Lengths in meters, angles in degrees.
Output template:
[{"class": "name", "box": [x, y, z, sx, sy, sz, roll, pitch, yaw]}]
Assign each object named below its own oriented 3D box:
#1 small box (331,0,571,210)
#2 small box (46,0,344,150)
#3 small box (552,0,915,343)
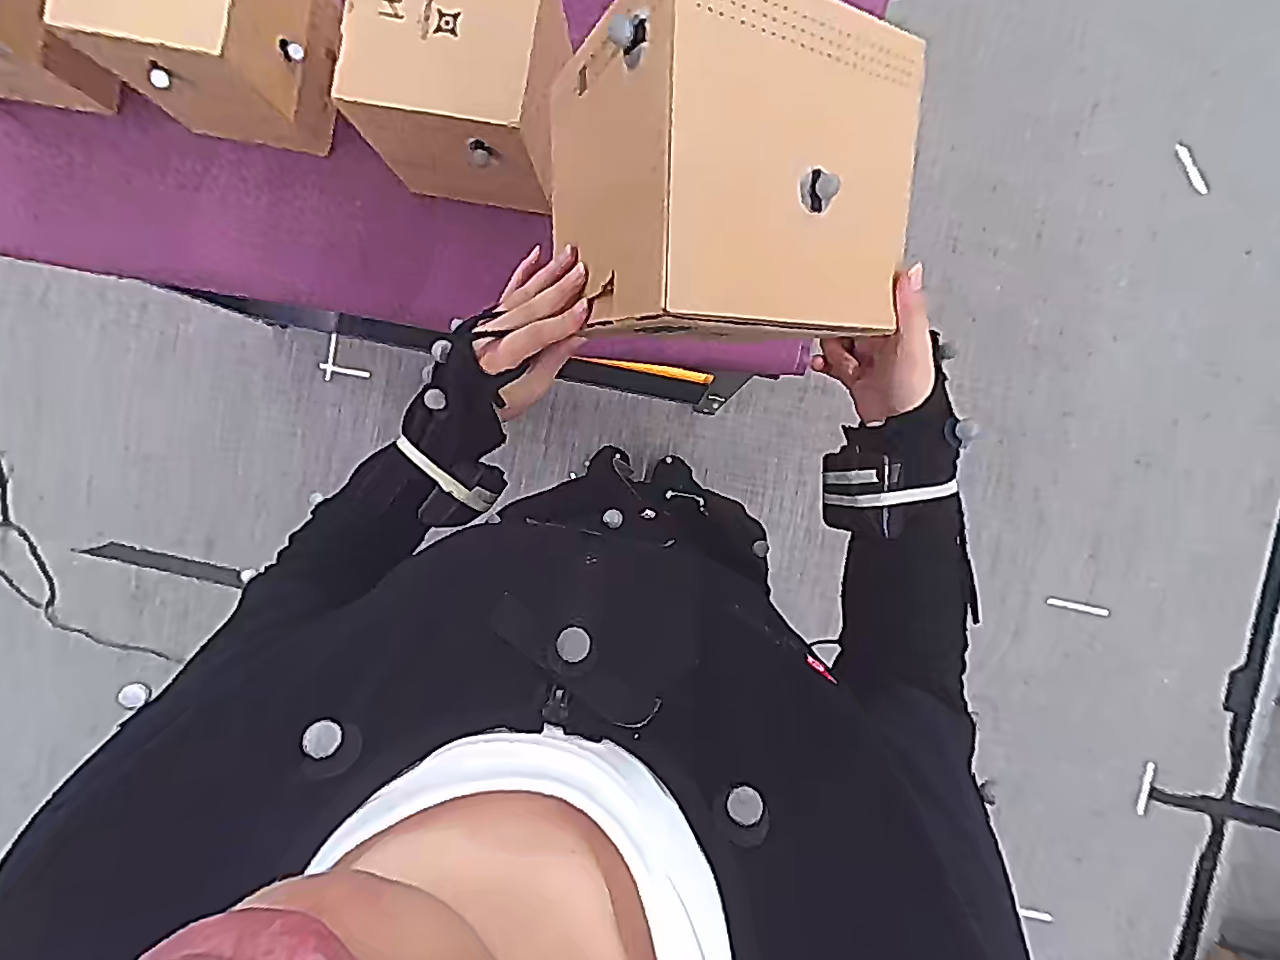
[{"class": "small box", "box": [-0.174, -0.405, 0.557, 0.179, 0.176, 0.168, 10, 91, 2]}, {"class": "small box", "box": [-0.441, -0.482, 0.569, 0.179, 0.176, 0.168, 12, 93, 2]}, {"class": "small box", "box": [0.049, -0.183, 0.356, 0.179, 0.168, 0.176, -5, 104, -27]}]
